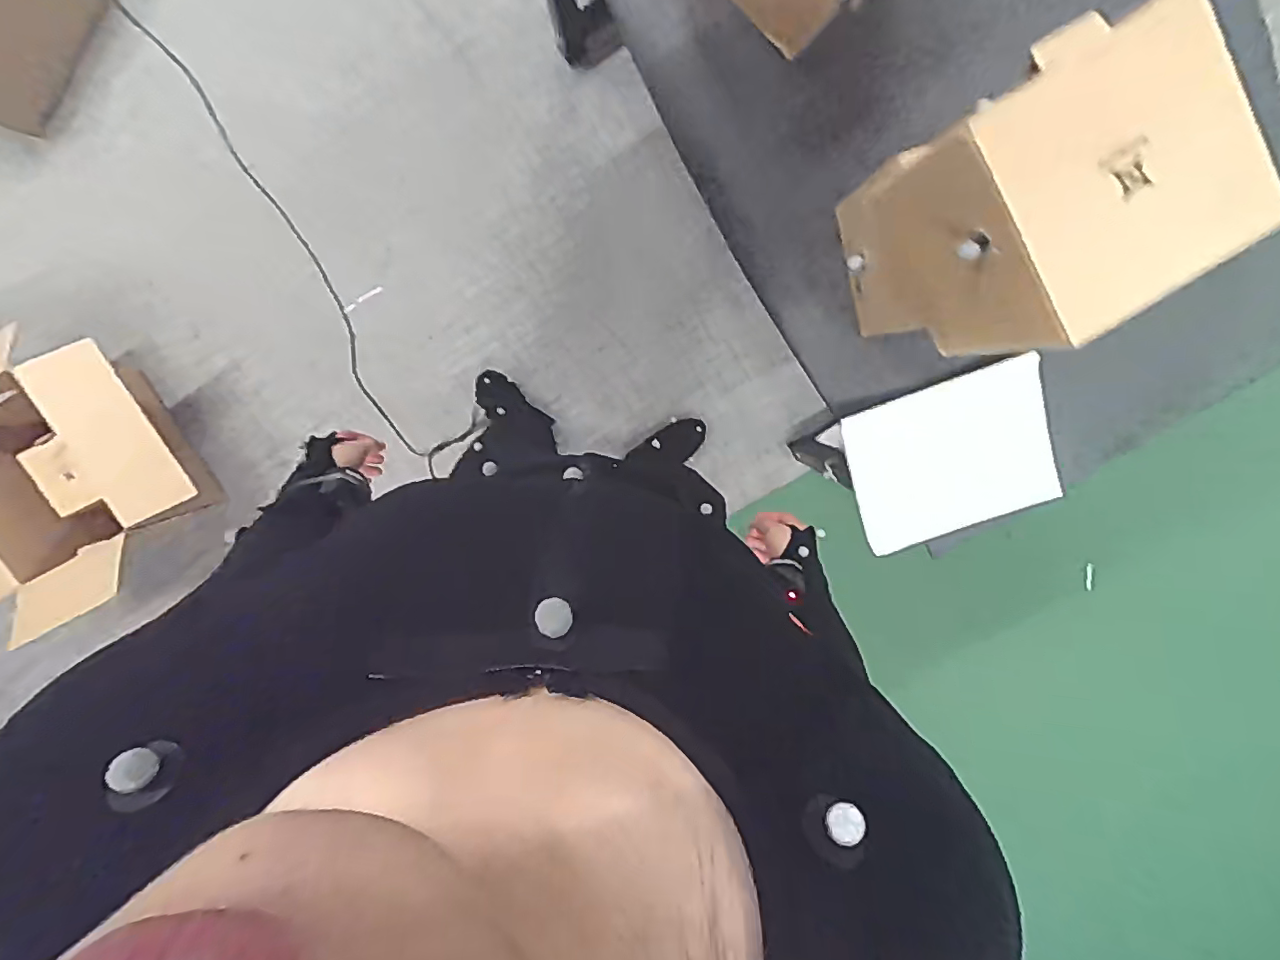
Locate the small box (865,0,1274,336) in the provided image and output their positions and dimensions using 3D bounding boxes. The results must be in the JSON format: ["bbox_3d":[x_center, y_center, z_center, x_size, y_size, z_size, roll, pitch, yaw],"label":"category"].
[{"bbox_3d":[0.324,-0.235,0.446,0.168,0.176,0.179,-32,99,6],"label":"small box"}]

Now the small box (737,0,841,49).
[{"bbox_3d":[0.168,-0.601,0.545,0.179,0.176,0.168,42,99,-8],"label":"small box"}]

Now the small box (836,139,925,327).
[{"bbox_3d":[0.345,-0.279,0.603,0.179,0.176,0.168,-16,100,4],"label":"small box"}]
